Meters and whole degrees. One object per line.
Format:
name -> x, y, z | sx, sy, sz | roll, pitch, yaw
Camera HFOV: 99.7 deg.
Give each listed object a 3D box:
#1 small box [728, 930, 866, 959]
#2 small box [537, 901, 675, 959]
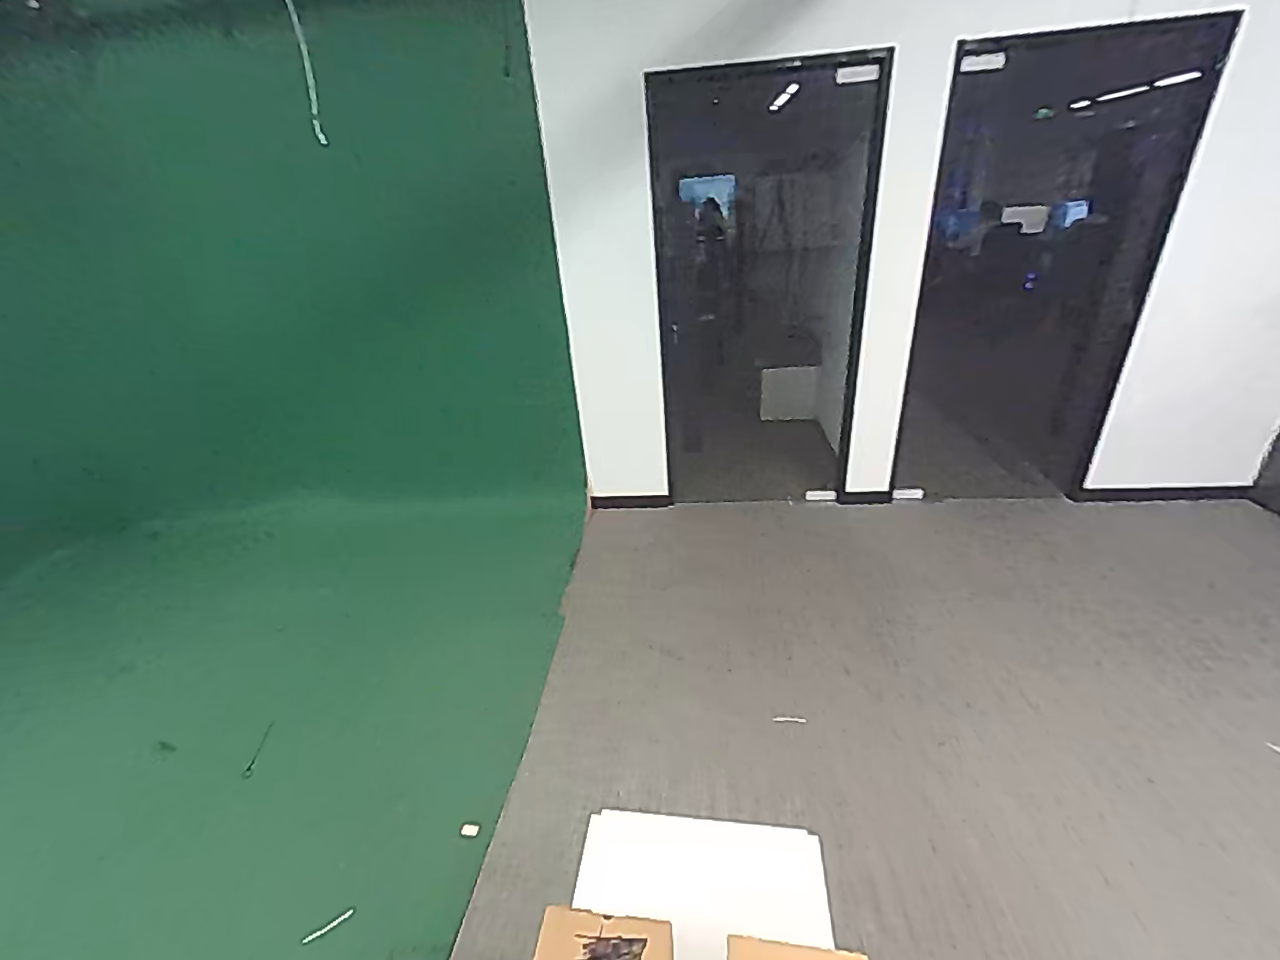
small box -> 0.180, 0.671, 0.619 | 0.168, 0.176, 0.179 | 0, 28, 11
small box -> -0.044, 0.667, 0.666 | 0.168, 0.176, 0.179 | 0, 30, 8
